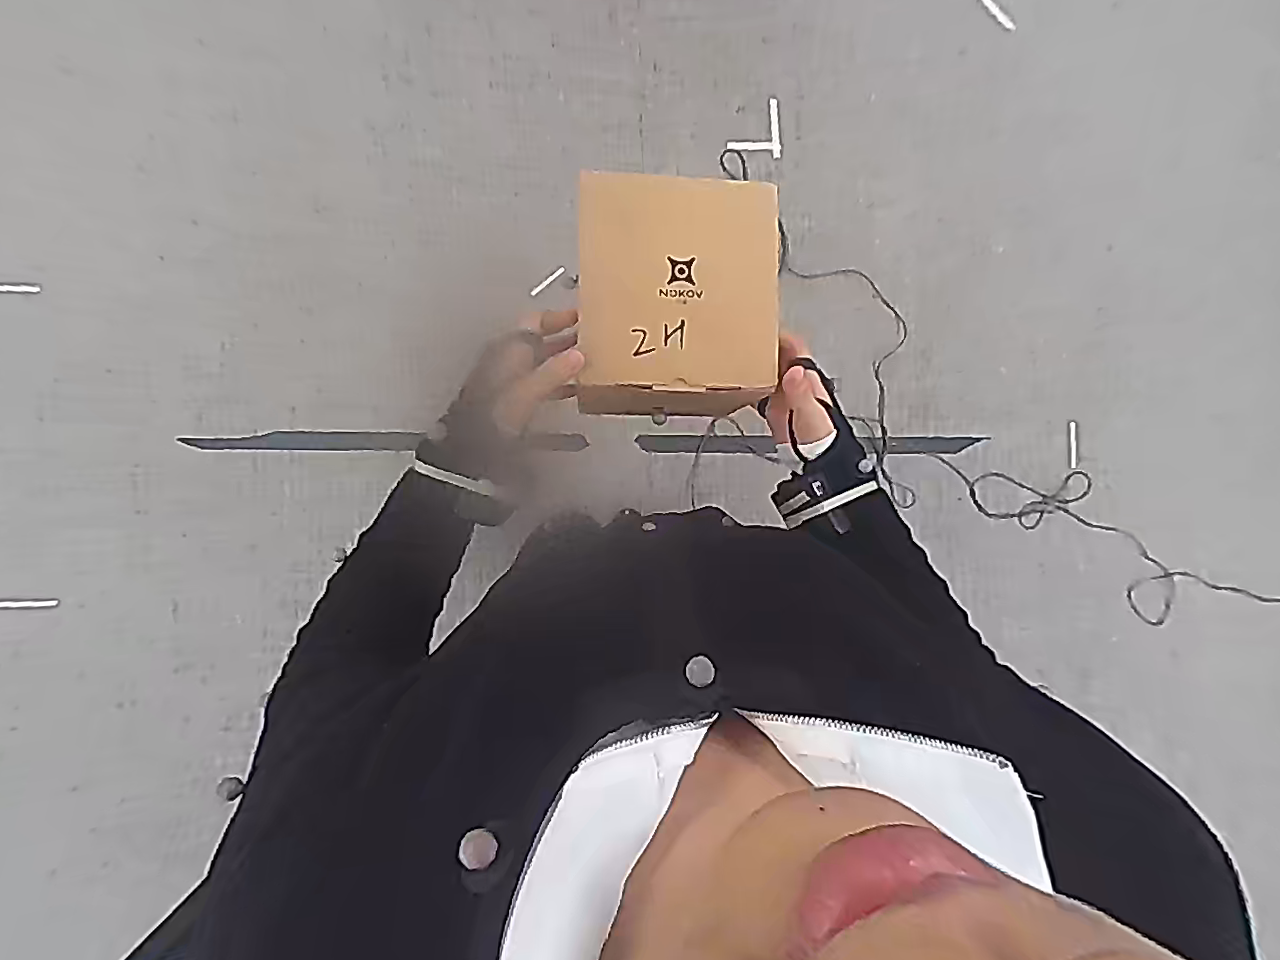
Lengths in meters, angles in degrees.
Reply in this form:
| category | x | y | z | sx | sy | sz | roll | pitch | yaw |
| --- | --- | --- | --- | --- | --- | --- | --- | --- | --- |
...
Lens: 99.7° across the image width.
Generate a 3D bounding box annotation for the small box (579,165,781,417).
| category | x | y | z | sx | sy | sz | roll | pitch | yaw |
| --- | --- | --- | --- | --- | --- | --- | --- | --- | --- |
| small box | 0.026 | -0.161 | 0.516 | 0.168 | 0.176 | 0.179 | 1 | 89 | -5 |
